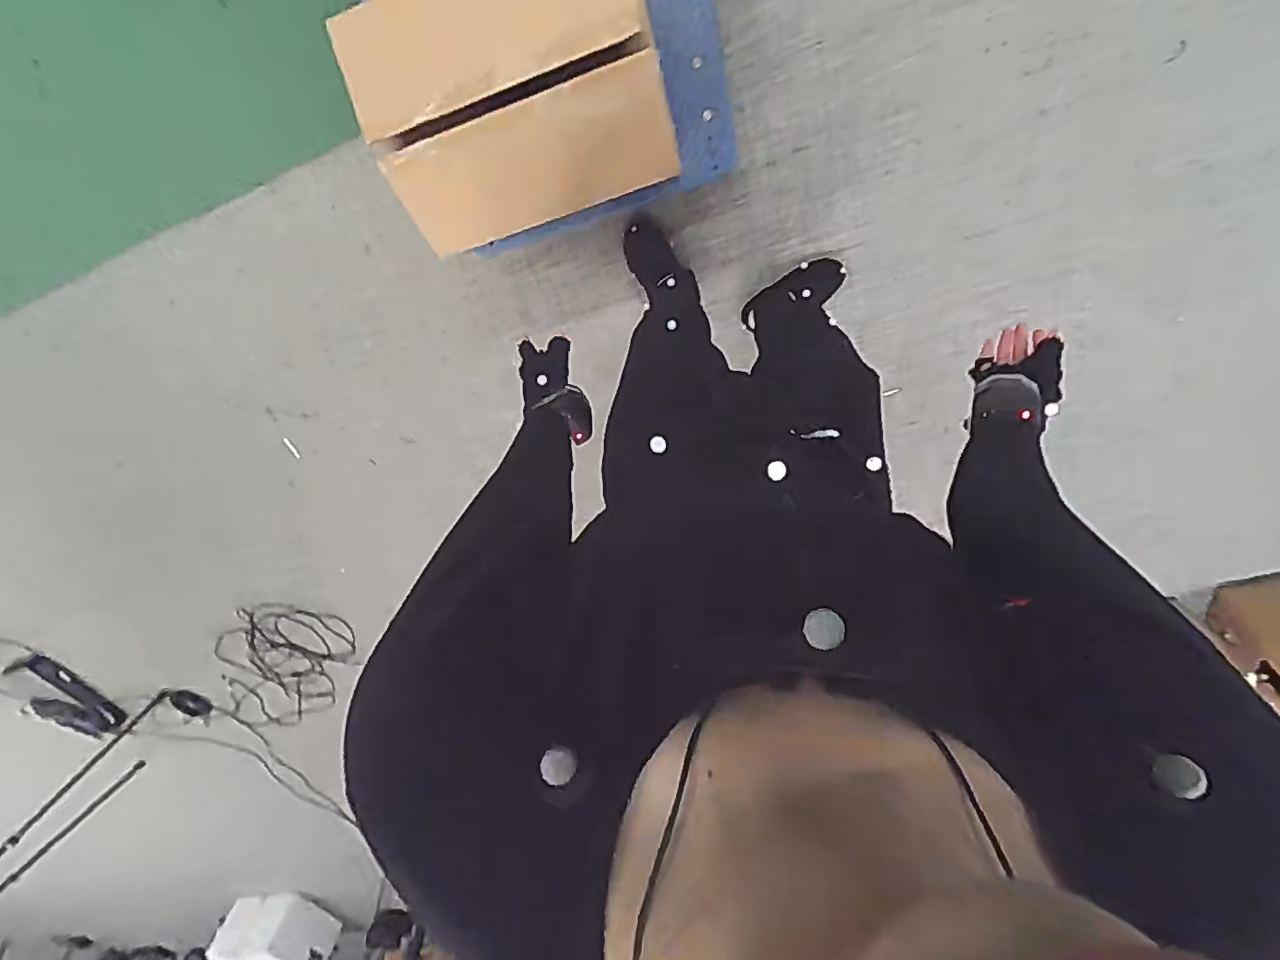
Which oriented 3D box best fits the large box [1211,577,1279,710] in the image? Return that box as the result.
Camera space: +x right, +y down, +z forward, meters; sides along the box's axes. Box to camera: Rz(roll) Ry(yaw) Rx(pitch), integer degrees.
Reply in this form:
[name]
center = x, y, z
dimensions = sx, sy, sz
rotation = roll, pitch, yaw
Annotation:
[large box]
center = 2.164, 0.498, 1.694
dimensions = 0.408, 0.320, 0.320
rotation = -15, 122, 12
